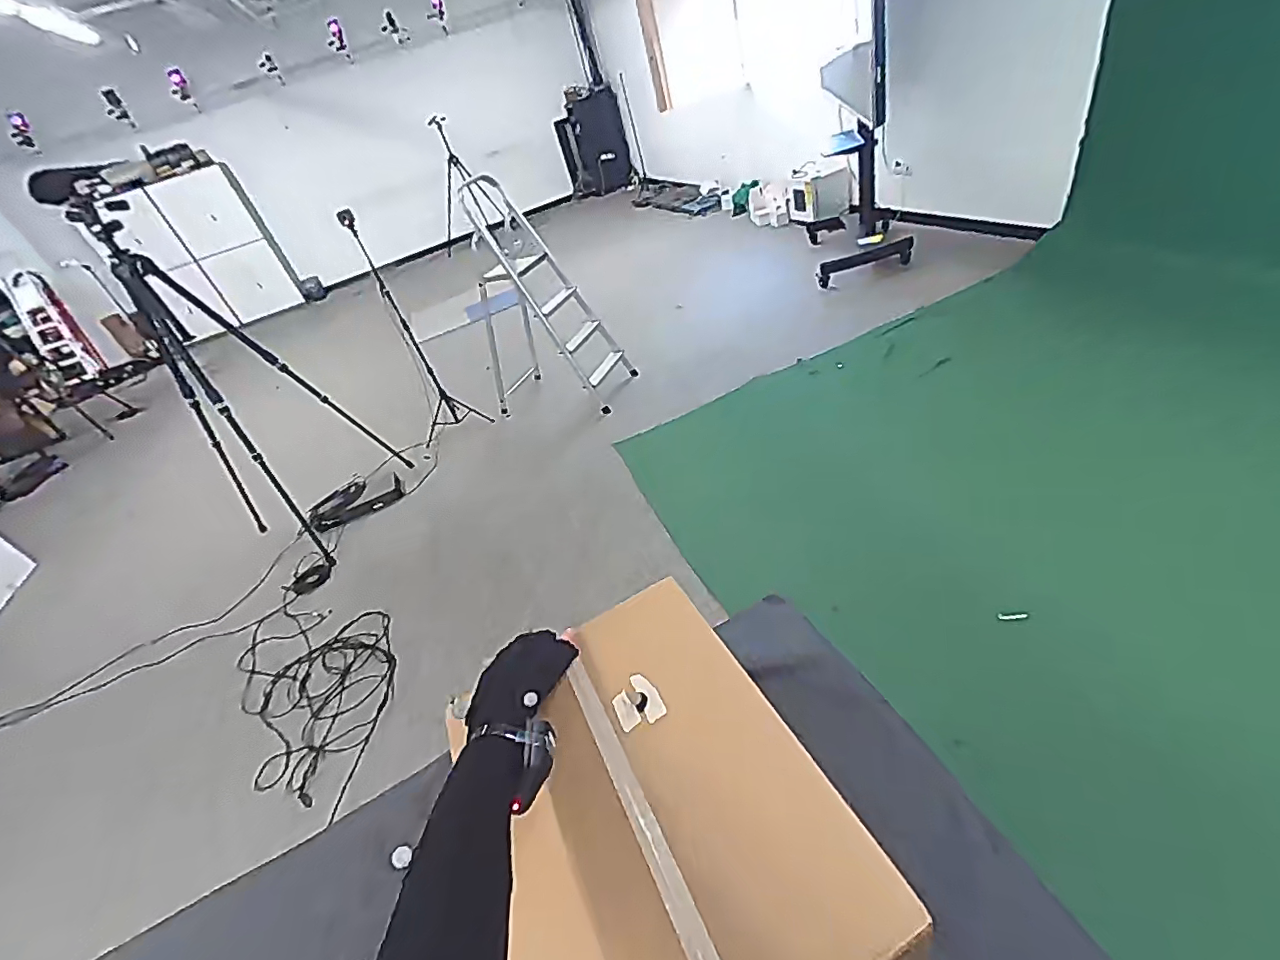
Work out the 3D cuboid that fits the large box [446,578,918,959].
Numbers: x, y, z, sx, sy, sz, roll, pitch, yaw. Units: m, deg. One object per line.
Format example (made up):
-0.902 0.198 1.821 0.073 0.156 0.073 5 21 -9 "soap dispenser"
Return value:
0.030 0.394 0.591 0.320 0.320 0.408 -28 36 -11 "large box"
